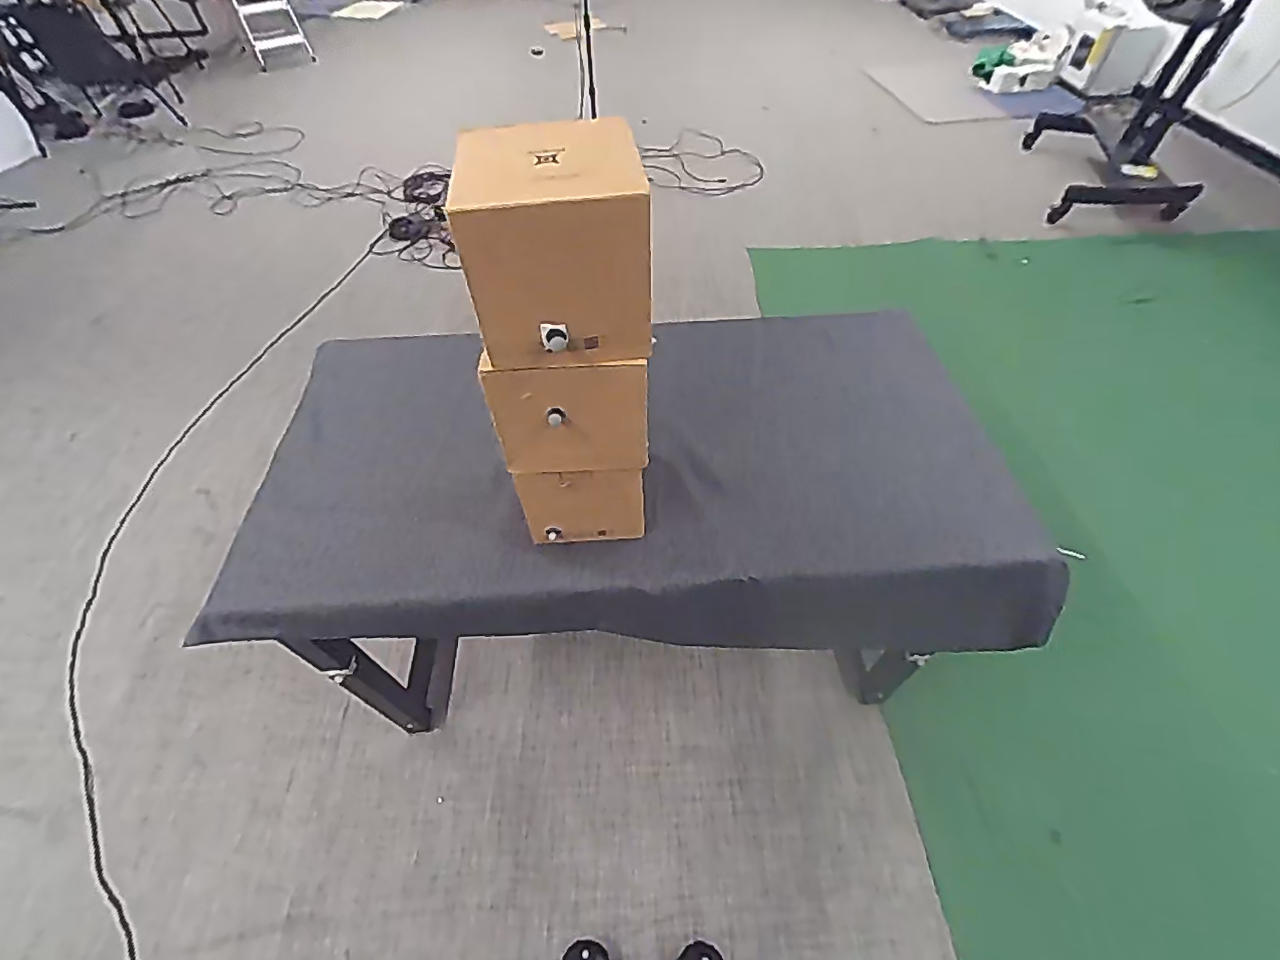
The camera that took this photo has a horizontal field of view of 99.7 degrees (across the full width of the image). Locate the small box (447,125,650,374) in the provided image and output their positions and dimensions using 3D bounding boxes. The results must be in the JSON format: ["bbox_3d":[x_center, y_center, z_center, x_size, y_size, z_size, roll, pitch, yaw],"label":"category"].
[{"bbox_3d":[-0.083,-0.233,0.552,0.168,0.176,0.179,-8,52,-3],"label":"small box"}]

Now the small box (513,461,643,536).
[{"bbox_3d":[-0.083,-0.027,0.805,0.168,0.176,0.179,-3,50,-1],"label":"small box"}]

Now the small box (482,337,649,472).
[{"bbox_3d":[-0.083,-0.124,0.677,0.179,0.176,0.168,-5,49,-3],"label":"small box"}]
